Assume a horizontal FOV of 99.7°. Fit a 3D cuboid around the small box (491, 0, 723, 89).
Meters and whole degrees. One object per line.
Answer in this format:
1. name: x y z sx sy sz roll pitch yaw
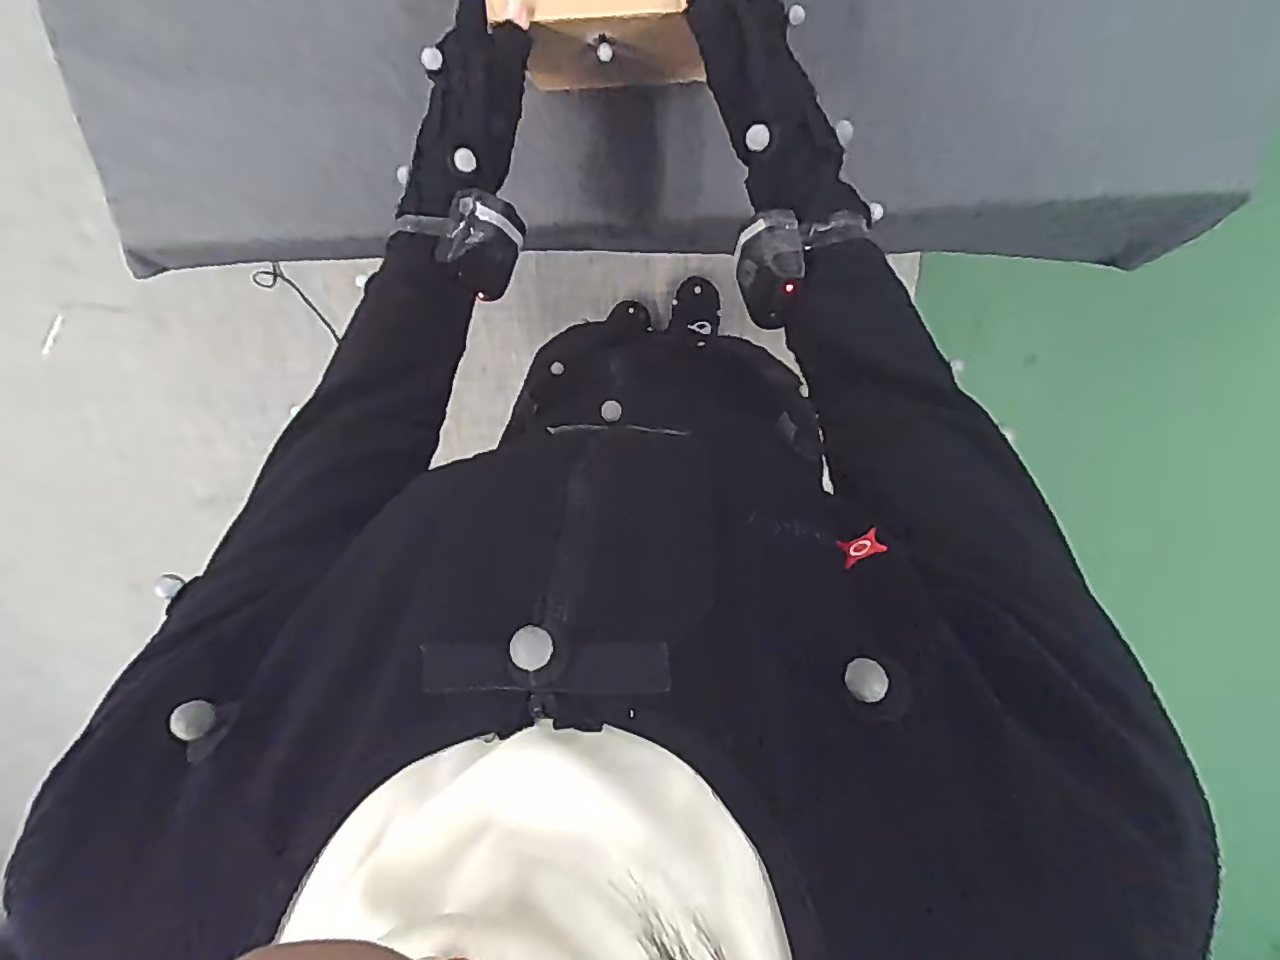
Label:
1. small box: -0.021 -0.447 0.446 0.179 0.176 0.168 -1 112 4
